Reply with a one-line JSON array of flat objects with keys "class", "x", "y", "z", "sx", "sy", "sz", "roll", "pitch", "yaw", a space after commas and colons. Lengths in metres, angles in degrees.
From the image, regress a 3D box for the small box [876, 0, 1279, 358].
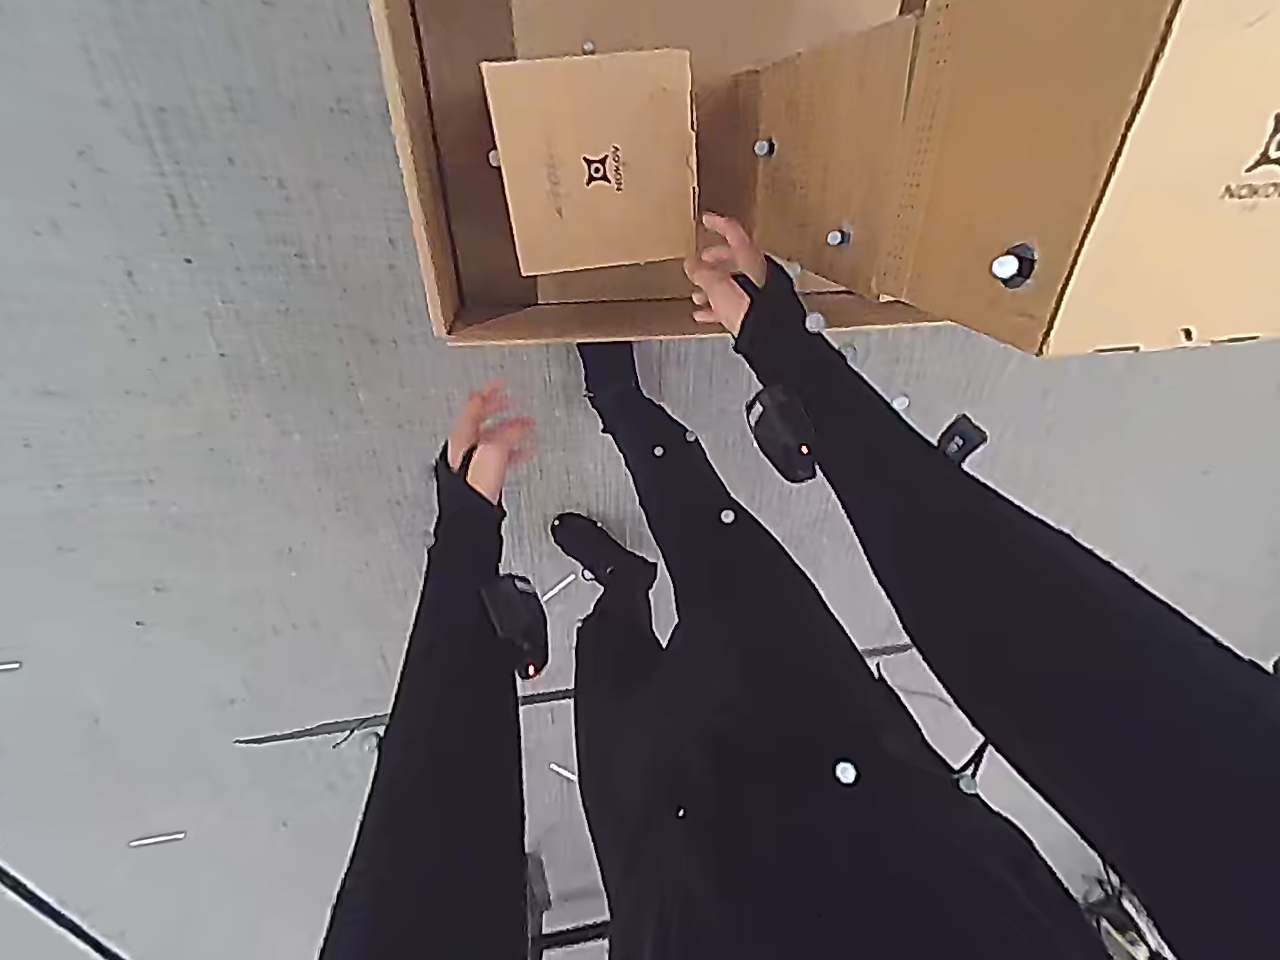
[{"class": "small box", "x": 0.261, "y": -0.184, "z": 0.302, "sx": 0.168, "sy": 0.176, "sz": 0.179, "roll": -6, "pitch": 123, "yaw": -8}]
